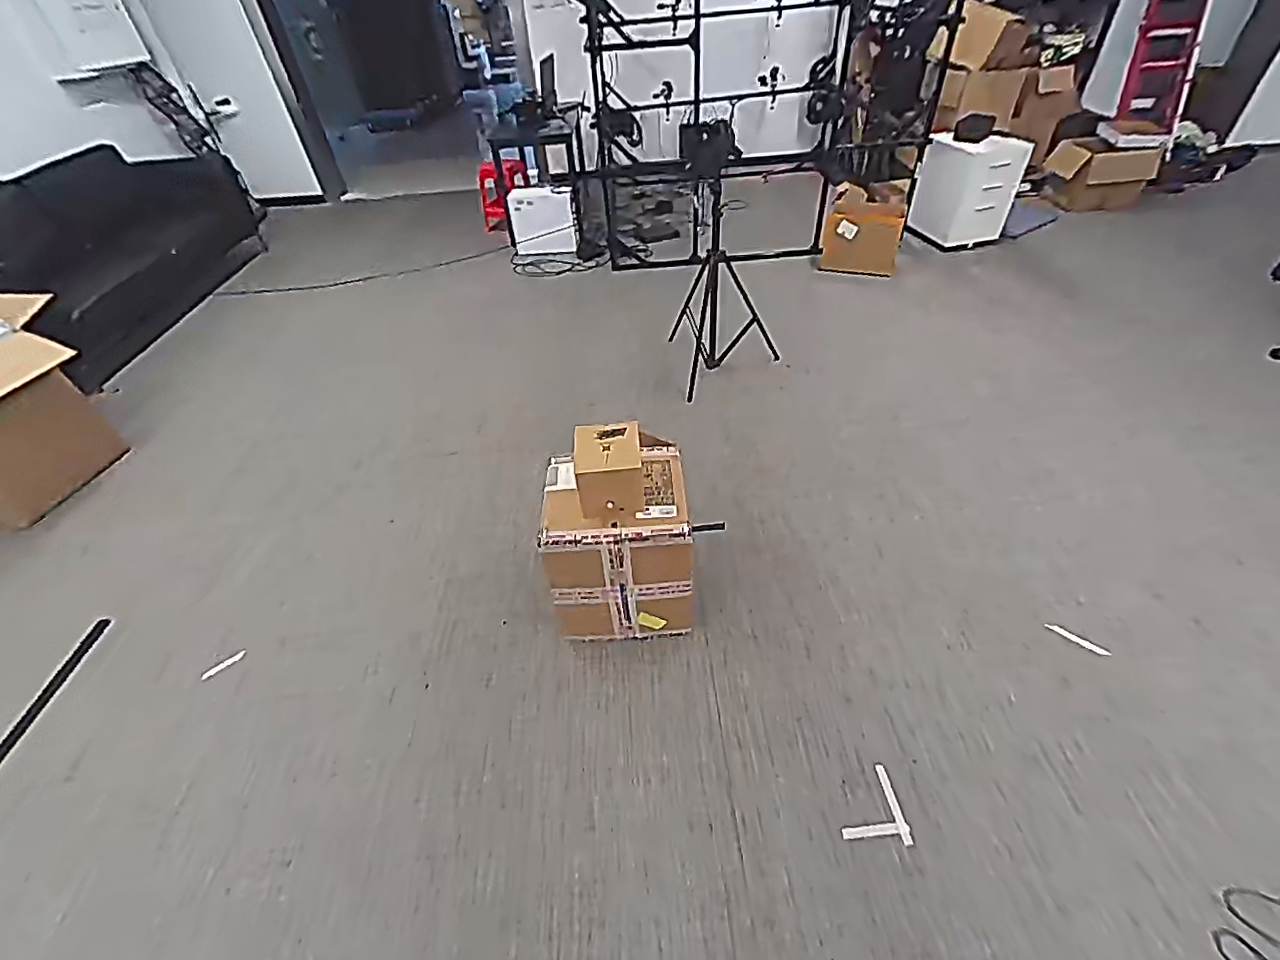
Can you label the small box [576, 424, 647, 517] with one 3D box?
[{"bbox_3d":[-0.072,-0.024,1.410,0.168,0.176,0.179,-5,46,0],"label":"small box"}]
